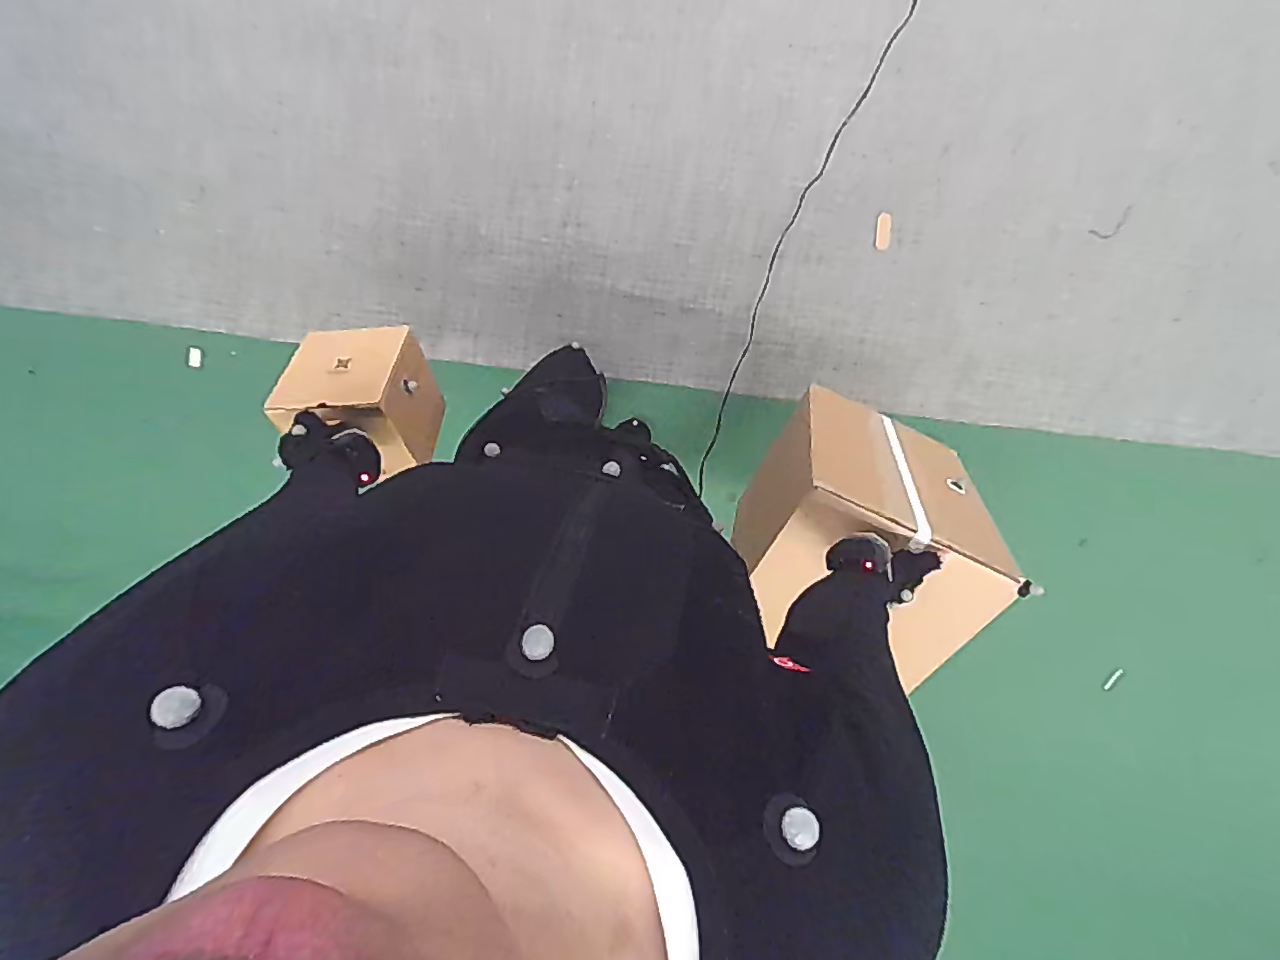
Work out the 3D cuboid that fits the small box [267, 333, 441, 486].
[{"bbox_3d":[-0.434,-0.110,0.859,0.168,0.179,0.176,-3,142,2],"label":"small box"}]
